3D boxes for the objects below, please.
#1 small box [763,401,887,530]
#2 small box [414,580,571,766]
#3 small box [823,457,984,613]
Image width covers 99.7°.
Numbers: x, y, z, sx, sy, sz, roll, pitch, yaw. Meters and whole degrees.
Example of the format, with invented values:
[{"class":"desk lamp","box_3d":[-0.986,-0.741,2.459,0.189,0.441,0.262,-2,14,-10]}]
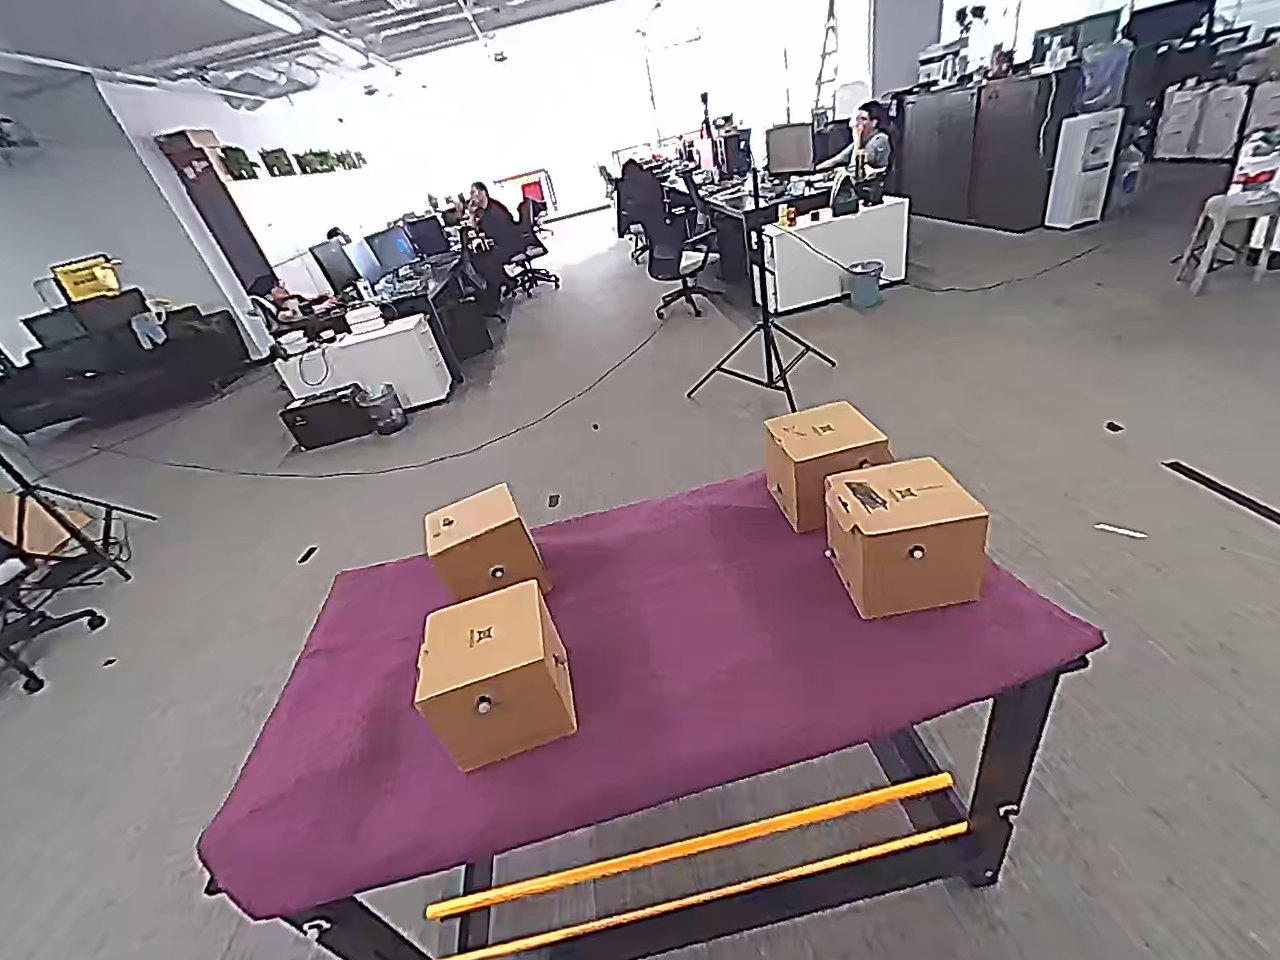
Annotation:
[{"class":"small box","box_3d":[0.353,-0.028,1.054,0.179,0.176,0.168,-15,33,-1]},{"class":"small box","box_3d":[-0.208,0.285,0.804,0.179,0.176,0.168,-18,32,-5]},{"class":"small box","box_3d":[0.406,0.089,0.856,0.179,0.176,0.168,-11,31,4]}]
